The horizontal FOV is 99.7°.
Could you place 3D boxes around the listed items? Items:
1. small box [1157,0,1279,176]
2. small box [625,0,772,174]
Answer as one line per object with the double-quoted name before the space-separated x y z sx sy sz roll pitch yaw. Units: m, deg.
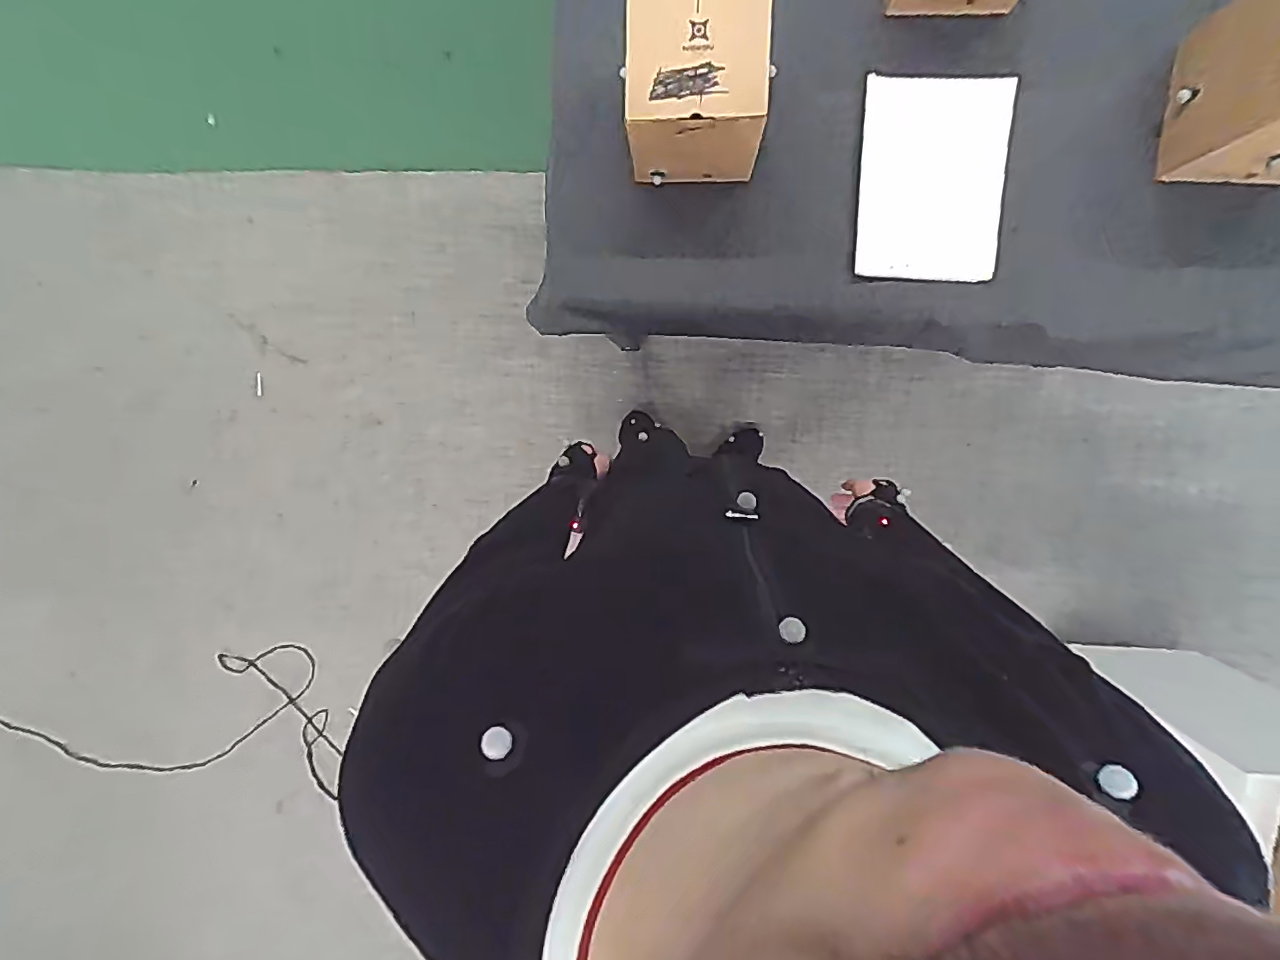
"small box" 0.777 -0.483 0.640 0.168 0.176 0.179 4 99 4
"small box" 0.072 -0.514 0.692 0.168 0.176 0.179 1 97 4
